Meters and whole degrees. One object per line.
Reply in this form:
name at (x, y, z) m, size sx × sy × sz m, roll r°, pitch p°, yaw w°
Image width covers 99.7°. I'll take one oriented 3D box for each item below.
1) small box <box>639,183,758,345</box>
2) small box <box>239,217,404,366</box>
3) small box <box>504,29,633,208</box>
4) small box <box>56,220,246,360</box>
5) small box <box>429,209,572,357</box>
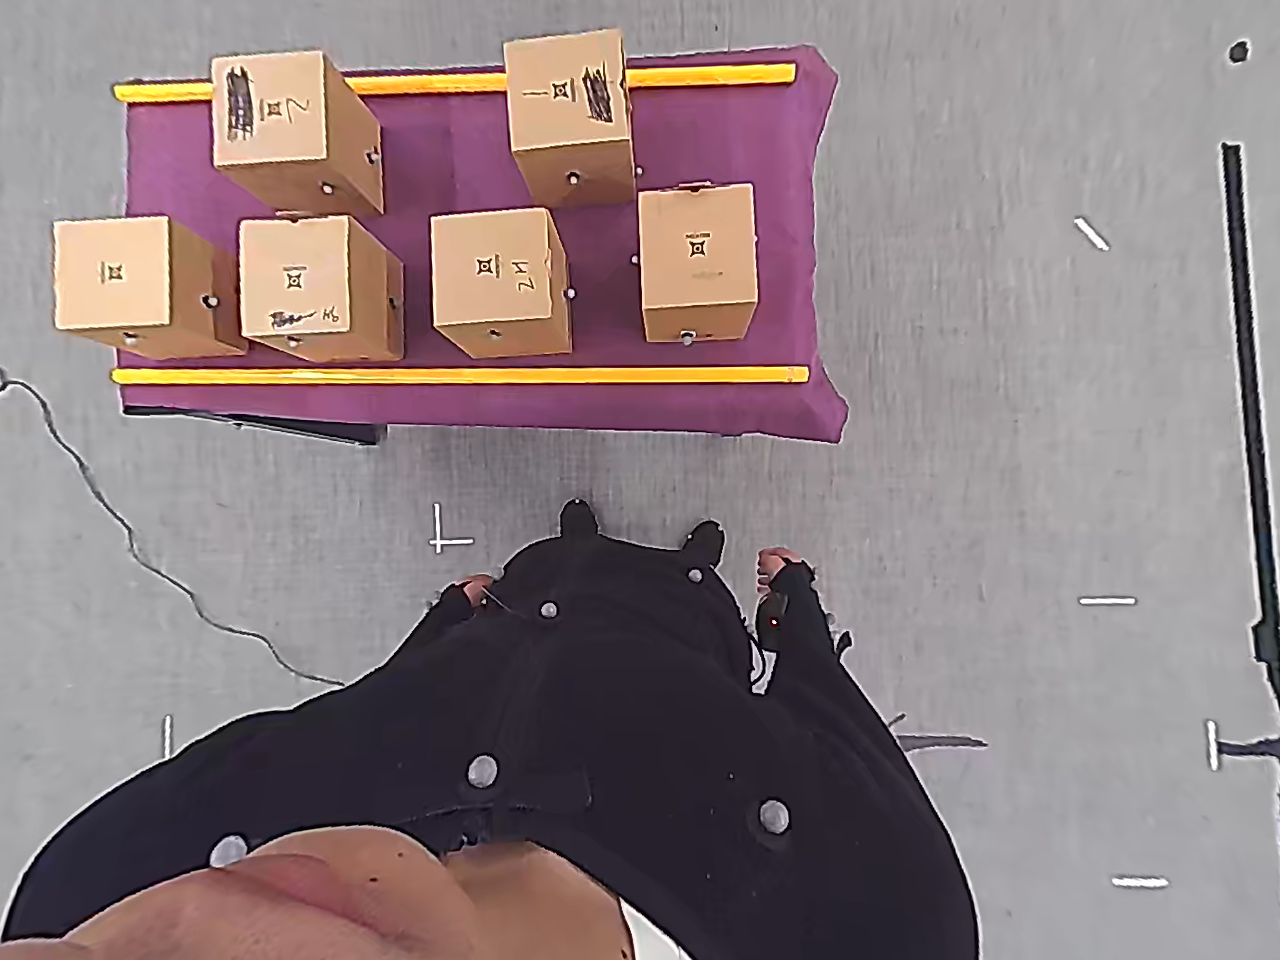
small box at (0.086, -0.323, 0.837) m, size 0.168 × 0.176 × 0.179 m, roll -2°, pitch 86°, yaw 4°
small box at (-0.497, -0.292, 0.867) m, size 0.168 × 0.176 × 0.179 m, roll -1°, pitch 87°, yaw 4°
small box at (-0.103, -0.558, 0.856) m, size 0.179 × 0.176 × 0.168 m, roll -4°, pitch 89°, yaw 4°
small box at (-0.778, -0.300, 0.881) m, size 0.179 × 0.176 × 0.168 m, roll -3°, pitch 88°, yaw 2°
small box at (-0.211, -0.298, 0.852) m, size 0.179 × 0.176 × 0.168 m, roll -3°, pitch 87°, yaw 3°
